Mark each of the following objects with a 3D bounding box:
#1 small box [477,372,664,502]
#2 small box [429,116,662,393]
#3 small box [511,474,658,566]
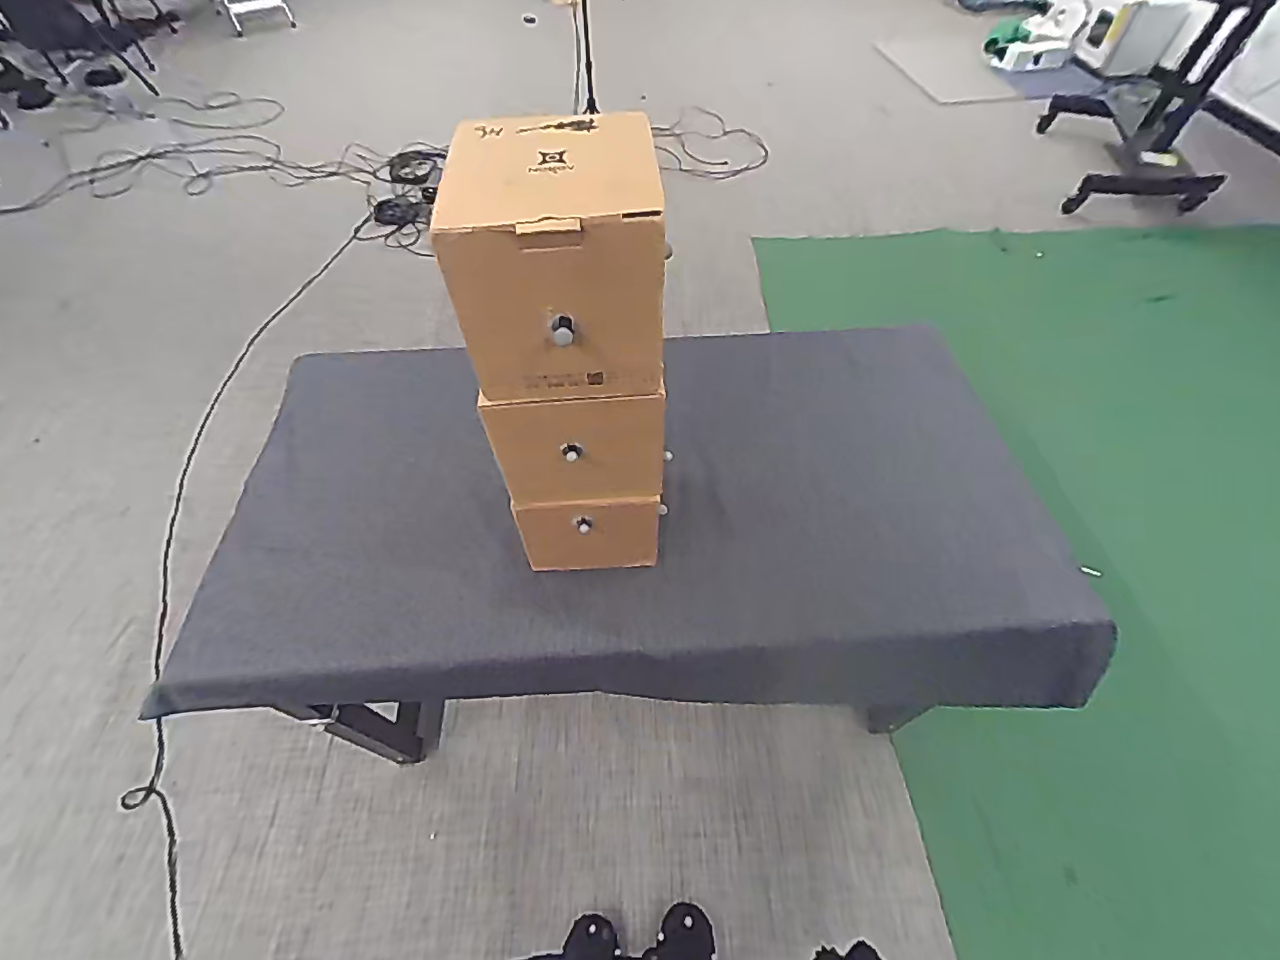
[{"bbox_3d":[-0.069,-0.089,0.611,0.179,0.176,0.168,-4,55,-1],"label":"small box"},{"bbox_3d":[-0.067,-0.190,0.483,0.168,0.176,0.179,-3,56,-2],"label":"small box"},{"bbox_3d":[-0.068,0.009,0.742,0.179,0.176,0.168,-2,55,-2],"label":"small box"}]
